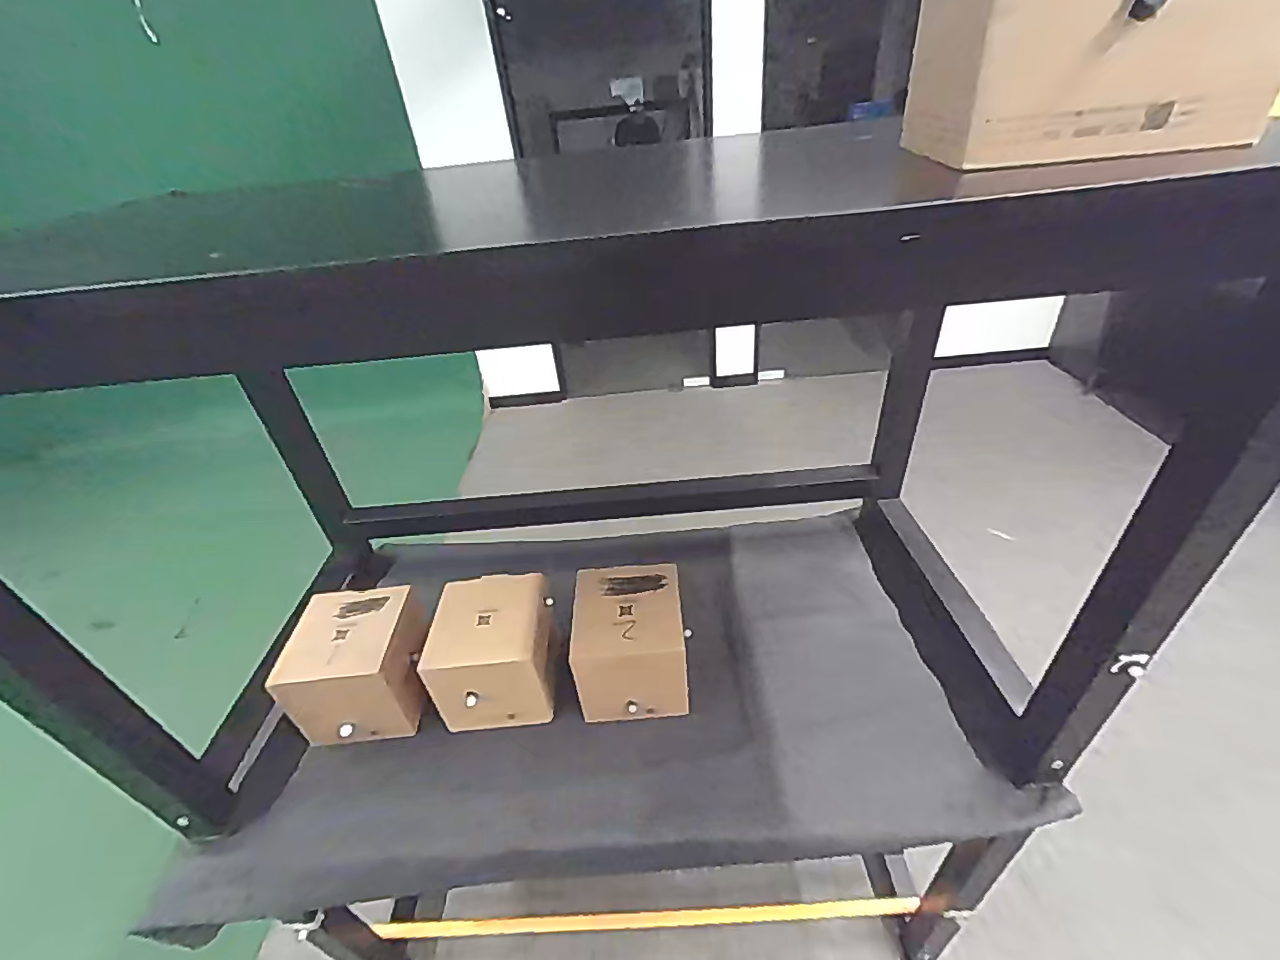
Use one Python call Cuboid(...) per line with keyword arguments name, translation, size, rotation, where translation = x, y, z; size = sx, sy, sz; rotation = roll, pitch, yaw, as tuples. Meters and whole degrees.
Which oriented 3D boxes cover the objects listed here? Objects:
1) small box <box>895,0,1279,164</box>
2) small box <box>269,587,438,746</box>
Cuboid(name="small box", translation=(0.285, -0.317, 0.360), size=(0.168, 0.176, 0.179), rotation=(1, 35, 11))
Cuboid(name="small box", translation=(-0.448, 0.302, 0.883), size=(0.168, 0.176, 0.179), rotation=(-7, 35, 0))
